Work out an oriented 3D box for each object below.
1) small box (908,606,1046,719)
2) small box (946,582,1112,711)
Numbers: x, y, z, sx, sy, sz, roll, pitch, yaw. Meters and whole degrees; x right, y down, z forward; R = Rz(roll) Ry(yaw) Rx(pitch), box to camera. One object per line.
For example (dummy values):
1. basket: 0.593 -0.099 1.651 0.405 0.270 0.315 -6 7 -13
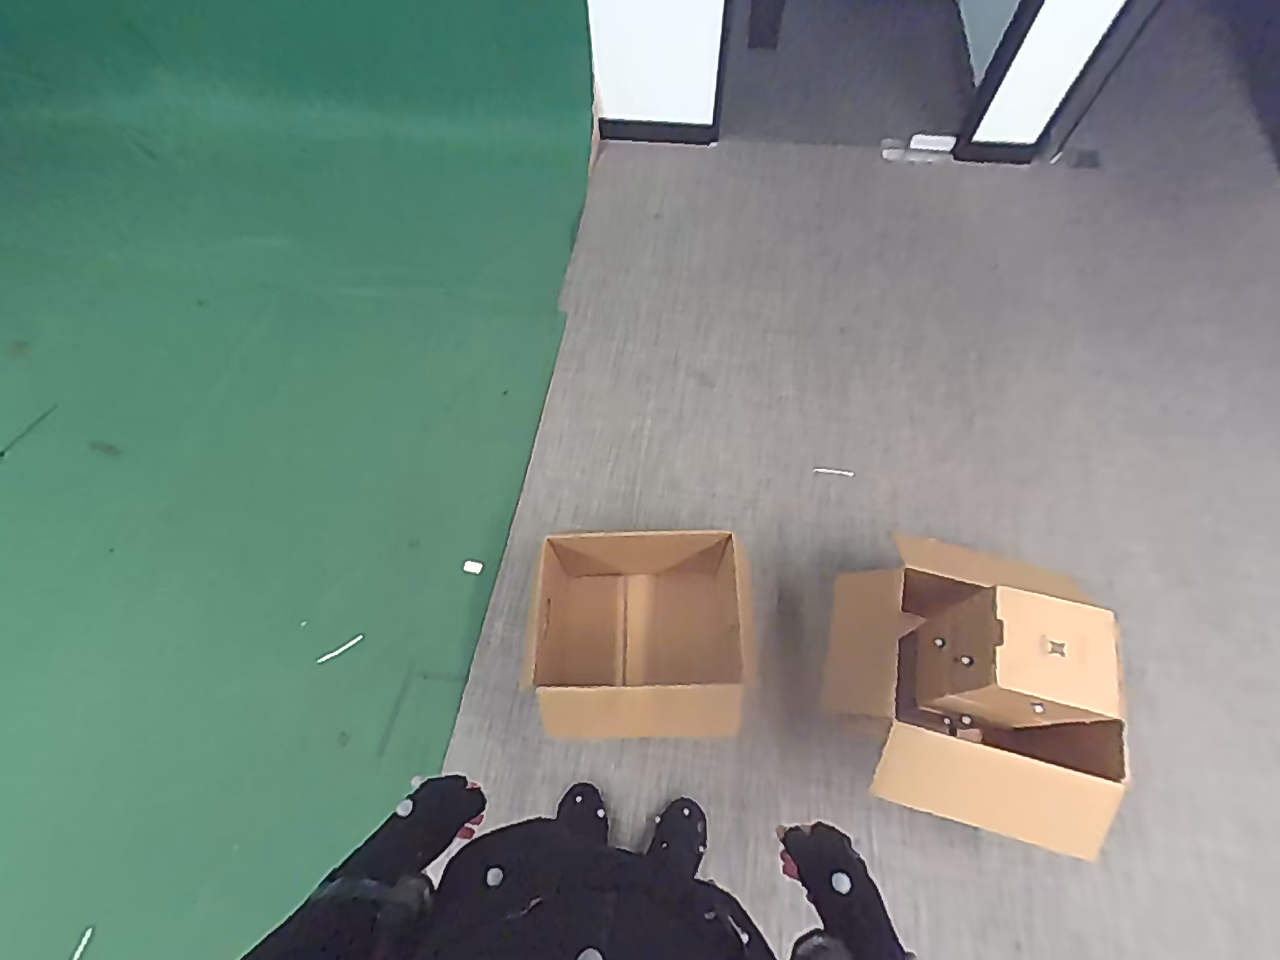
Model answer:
1. small box: 0.659 0.367 1.073 0.179 0.176 0.168 12 64 9
2. small box: 0.651 0.292 0.929 0.179 0.176 0.168 12 66 9
